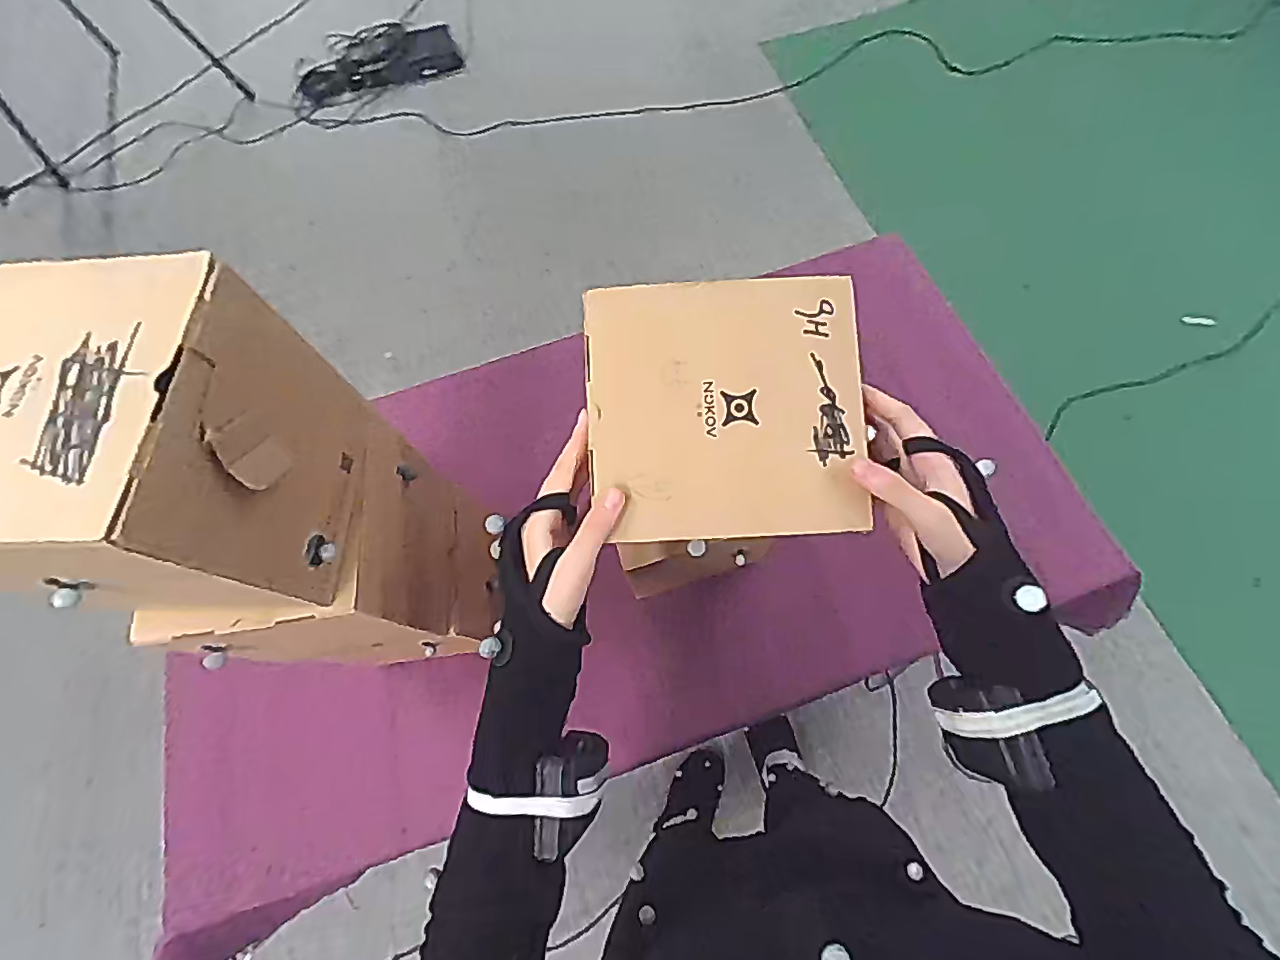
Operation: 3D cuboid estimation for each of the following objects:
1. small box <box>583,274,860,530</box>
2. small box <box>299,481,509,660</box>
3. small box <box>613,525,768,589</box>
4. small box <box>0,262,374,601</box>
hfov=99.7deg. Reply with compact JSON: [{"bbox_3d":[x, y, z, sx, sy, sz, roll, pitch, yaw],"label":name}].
[{"bbox_3d":[0.055,-0.045,0.433,0.179,0.176,0.168,-2,85,2],"label":"small box"},{"bbox_3d":[-0.271,0.118,0.659,0.179,0.176,0.168,-9,67,0],"label":"small box"},{"bbox_3d":[0.048,0.021,0.675,0.179,0.176,0.168,-18,67,-3],"label":"small box"},{"bbox_3d":[-0.310,-0.017,0.361,0.179,0.176,0.168,-3,66,4],"label":"small box"}]
